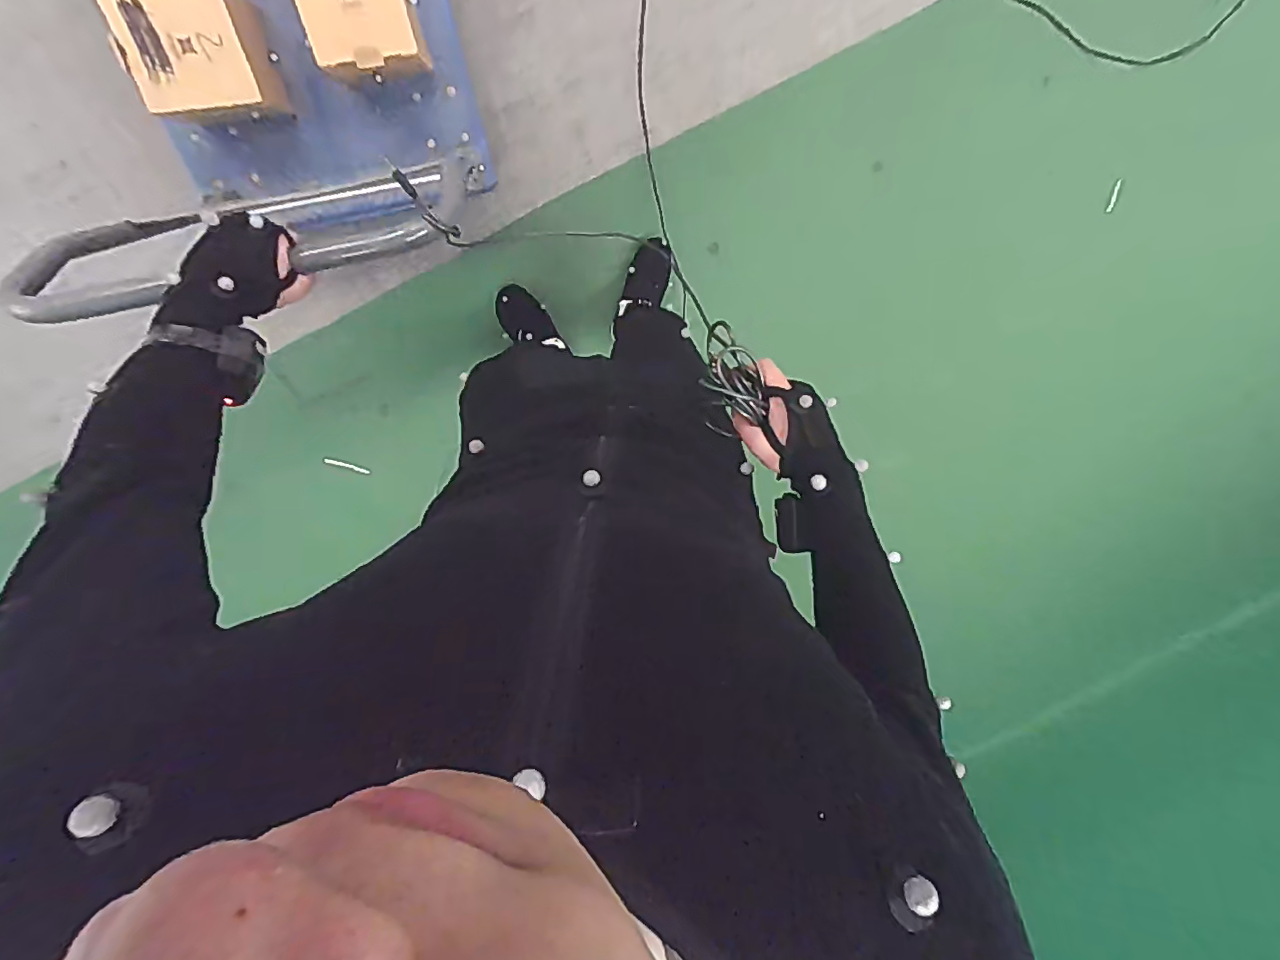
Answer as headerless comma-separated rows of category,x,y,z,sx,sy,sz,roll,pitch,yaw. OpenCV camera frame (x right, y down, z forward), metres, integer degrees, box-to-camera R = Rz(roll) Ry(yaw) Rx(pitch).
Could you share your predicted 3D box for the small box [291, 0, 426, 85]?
small box,-0.483,-0.801,0.922,0.168,0.176,0.179,-14,122,-6
